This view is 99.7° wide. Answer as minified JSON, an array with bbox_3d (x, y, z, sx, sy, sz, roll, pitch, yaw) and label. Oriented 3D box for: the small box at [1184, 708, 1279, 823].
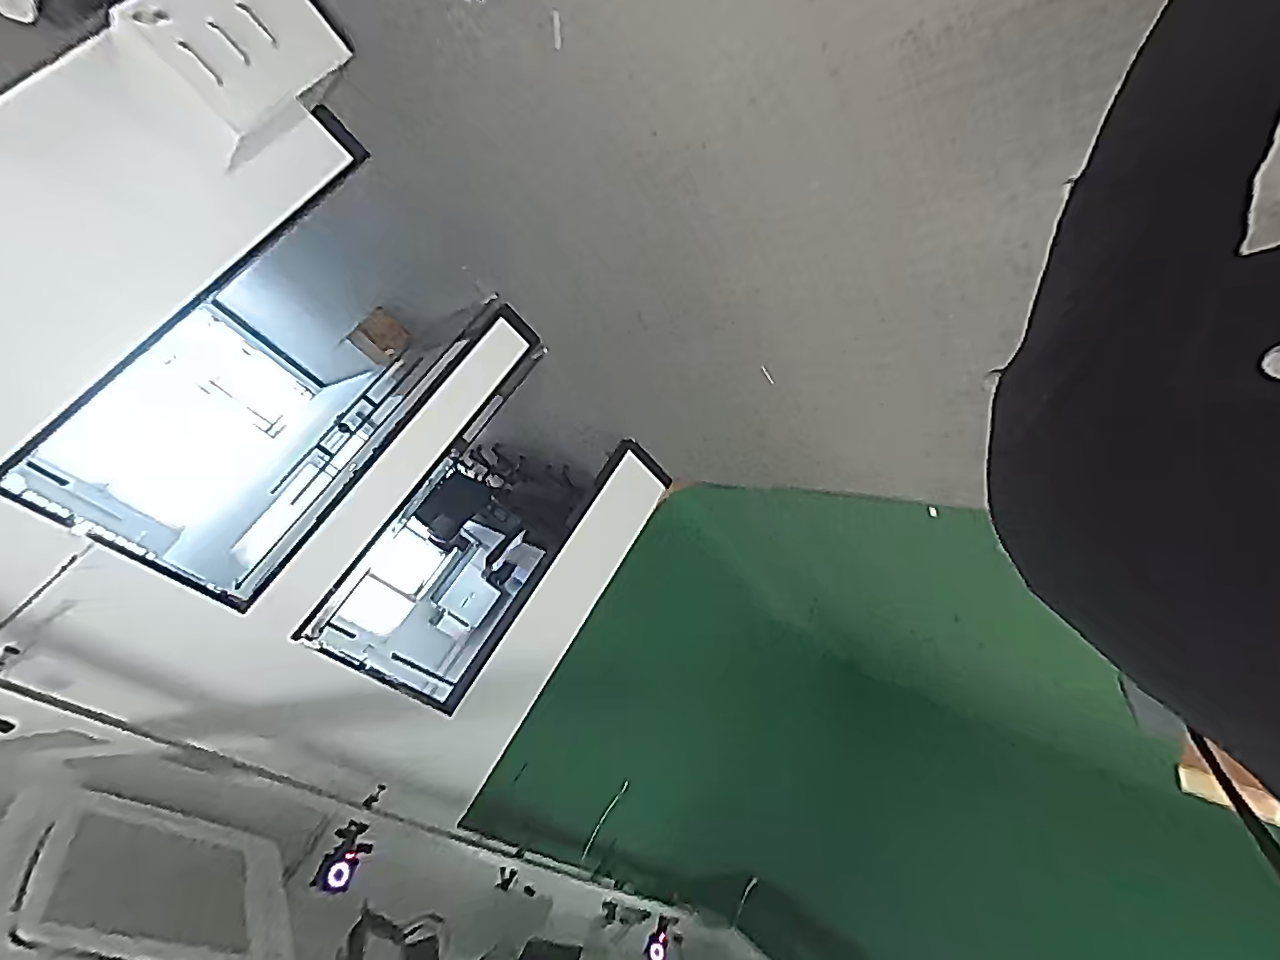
[{"bbox_3d":[1.418,0.670,1.282,0.168,0.176,0.179,7,149,51],"label":"small box"}]
